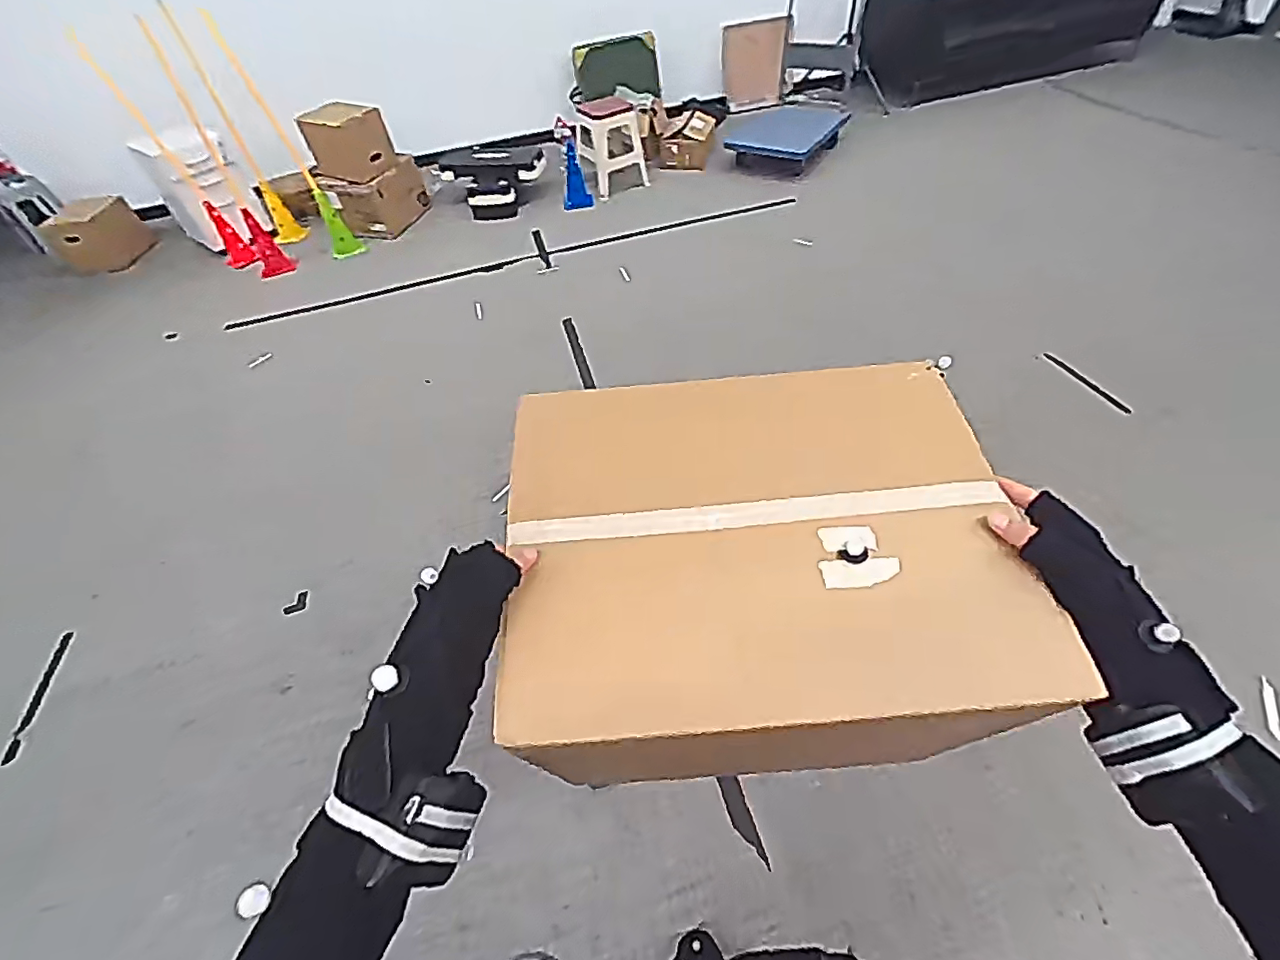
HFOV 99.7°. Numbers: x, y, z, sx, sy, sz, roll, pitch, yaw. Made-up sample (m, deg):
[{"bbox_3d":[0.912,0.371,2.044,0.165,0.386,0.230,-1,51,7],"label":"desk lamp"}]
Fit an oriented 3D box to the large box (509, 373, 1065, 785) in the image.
[{"bbox_3d":[0.097,0.120,0.583,0.408,0.320,0.320,-5,56,0],"label":"large box"}]
